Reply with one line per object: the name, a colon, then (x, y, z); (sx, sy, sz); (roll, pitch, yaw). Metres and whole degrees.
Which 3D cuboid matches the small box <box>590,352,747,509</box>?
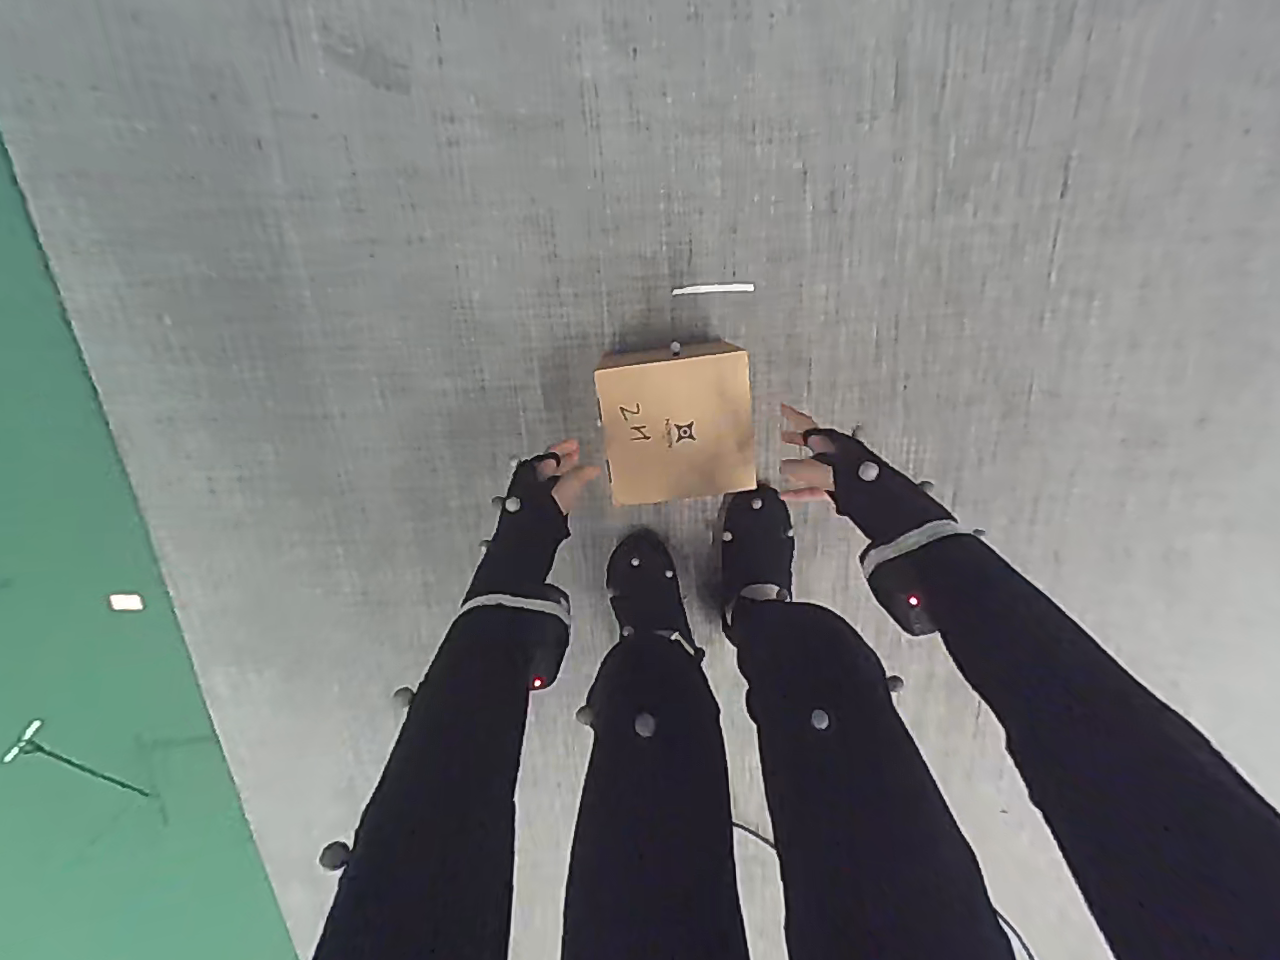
small box: (0.035, -0.074, 0.717); (0.179, 0.176, 0.168); (-7, 106, 2)
